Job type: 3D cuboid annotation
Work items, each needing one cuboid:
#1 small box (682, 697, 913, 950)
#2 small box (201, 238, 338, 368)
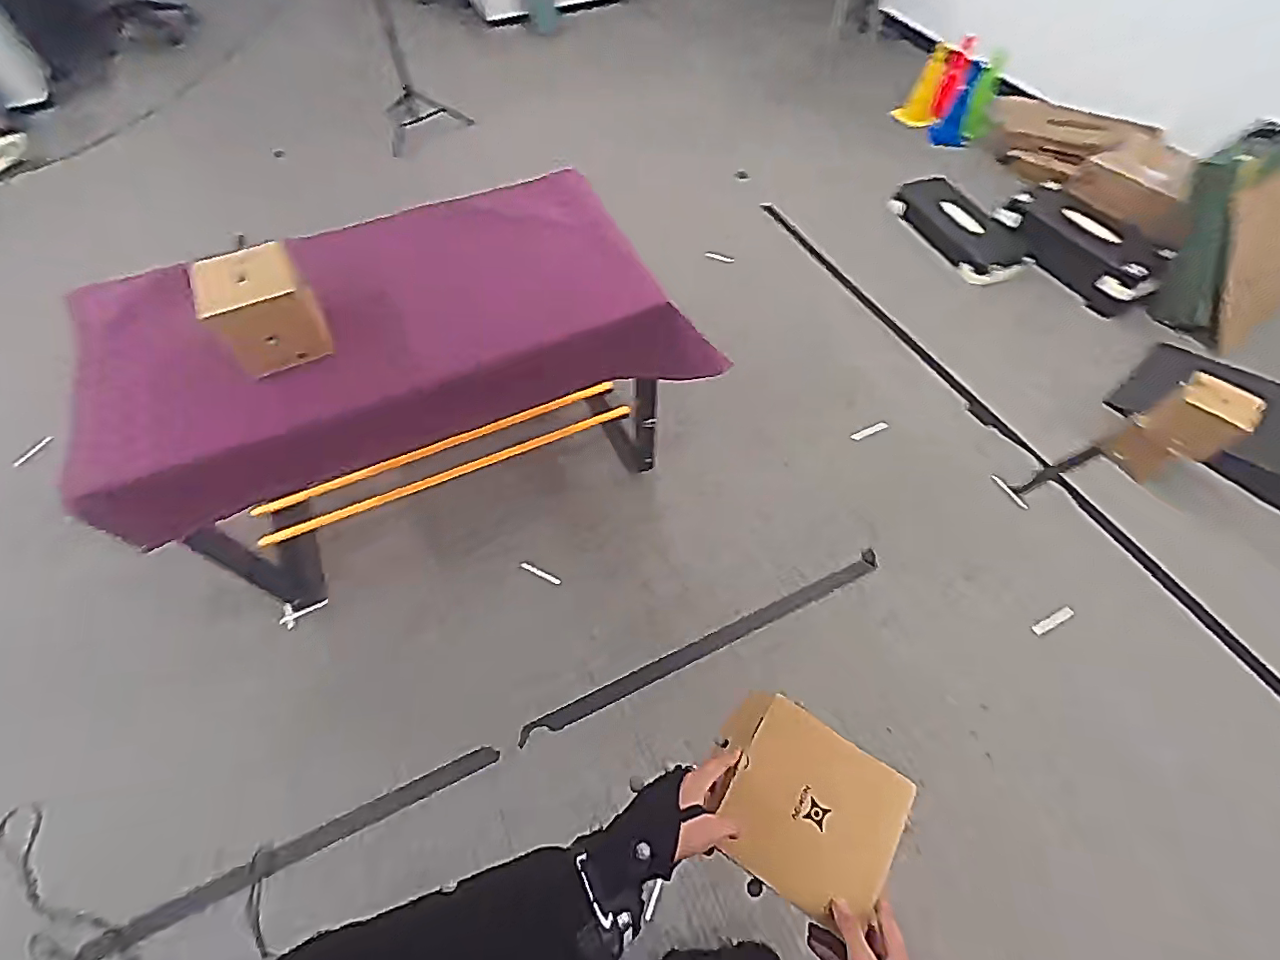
[{"bbox_3d":[0.168,0.371,0.624,0.179,0.176,0.168,30,68,10],"label":"small box"},{"bbox_3d":[-0.744,-0.350,1.100,0.168,0.176,0.179,-23,62,-14],"label":"small box"}]
